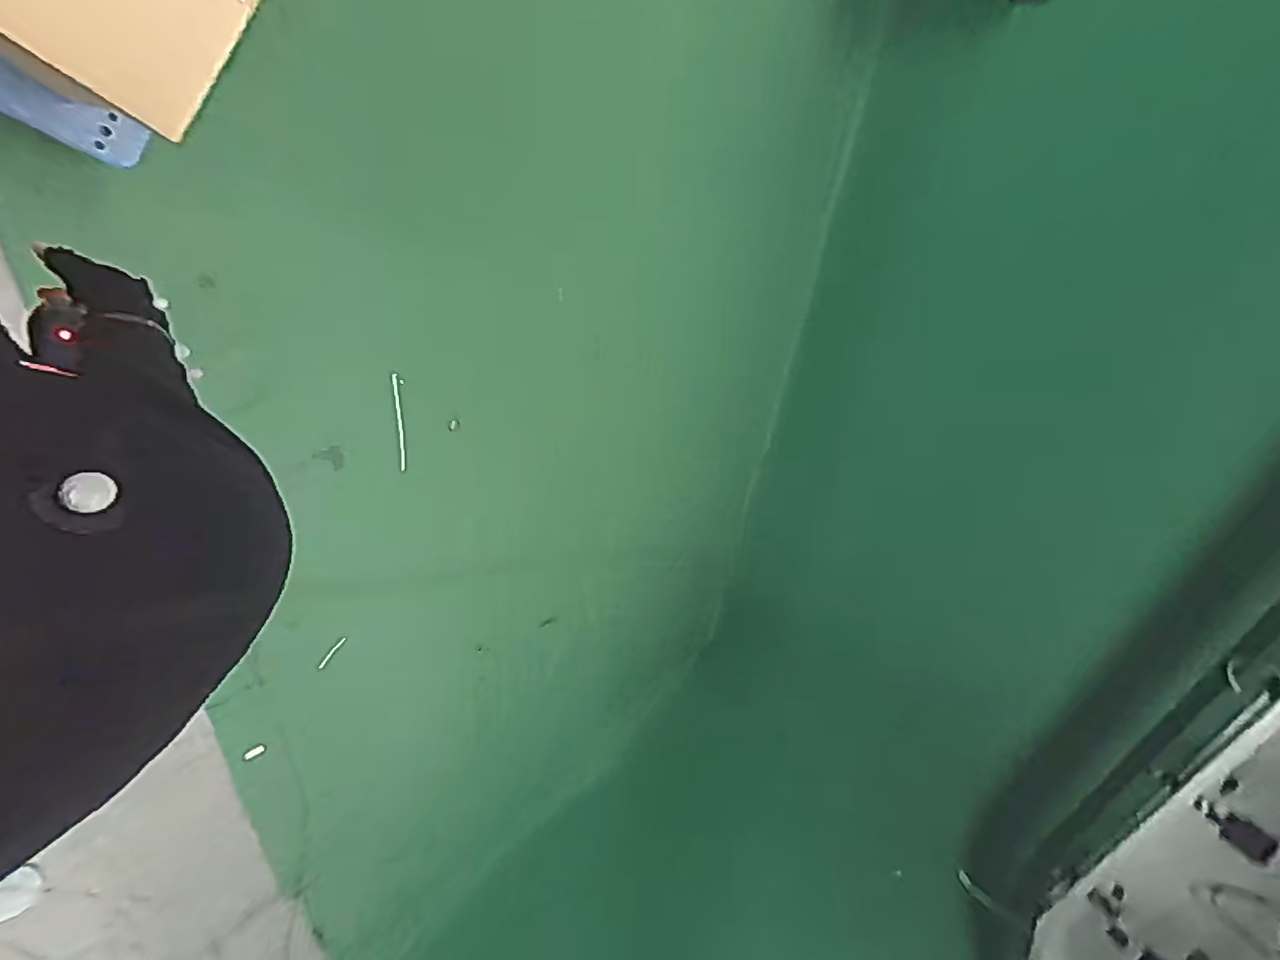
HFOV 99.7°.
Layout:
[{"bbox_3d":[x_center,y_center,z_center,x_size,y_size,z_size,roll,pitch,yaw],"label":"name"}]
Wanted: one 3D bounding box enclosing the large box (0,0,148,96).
[{"bbox_3d":[-0.766,-0.686,0.547,0.408,0.320,0.320,28,90,-56],"label":"large box"}]
